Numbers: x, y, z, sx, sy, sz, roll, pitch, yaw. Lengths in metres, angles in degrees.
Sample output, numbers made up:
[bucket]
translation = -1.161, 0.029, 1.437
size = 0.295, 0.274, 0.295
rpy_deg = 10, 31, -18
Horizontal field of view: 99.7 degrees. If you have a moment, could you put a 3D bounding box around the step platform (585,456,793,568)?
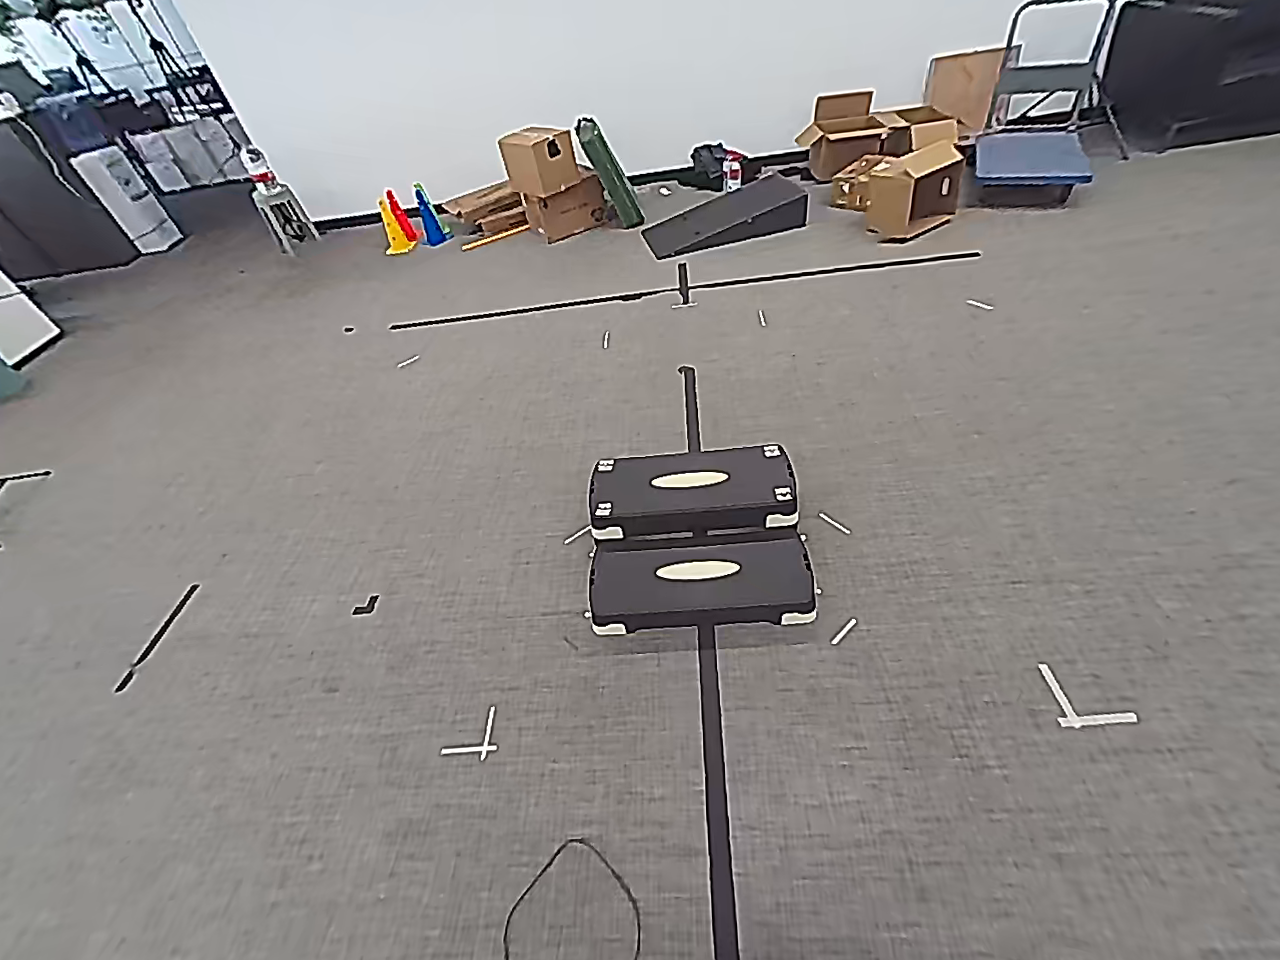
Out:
[step platform]
translation = 0.157, 0.103, 1.810
size = 0.684, 0.204, 0.286
rpy_deg = -5, 45, 5
